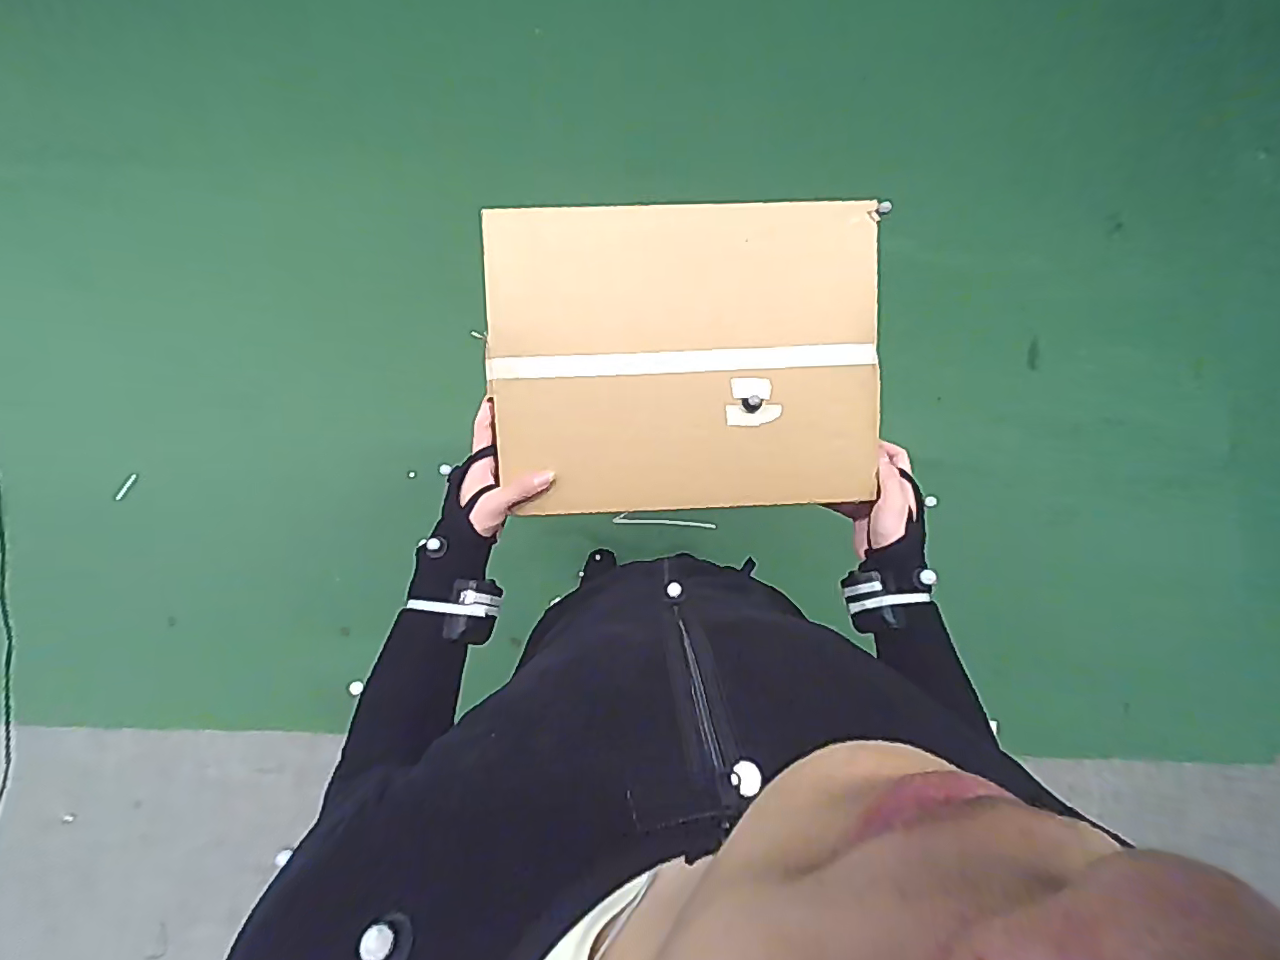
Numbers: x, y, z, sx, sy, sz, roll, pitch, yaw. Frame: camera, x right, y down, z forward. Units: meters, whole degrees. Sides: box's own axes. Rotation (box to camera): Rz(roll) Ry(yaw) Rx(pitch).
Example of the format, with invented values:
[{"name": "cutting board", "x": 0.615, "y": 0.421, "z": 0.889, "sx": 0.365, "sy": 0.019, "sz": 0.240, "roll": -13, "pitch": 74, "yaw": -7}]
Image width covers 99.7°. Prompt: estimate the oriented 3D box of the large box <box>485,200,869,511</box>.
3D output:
[{"name": "large box", "x": 0.037, "y": -0.144, "z": 0.720, "sx": 0.408, "sy": 0.320, "sz": 0.320, "roll": -3, "pitch": 96, "yaw": -3}]
